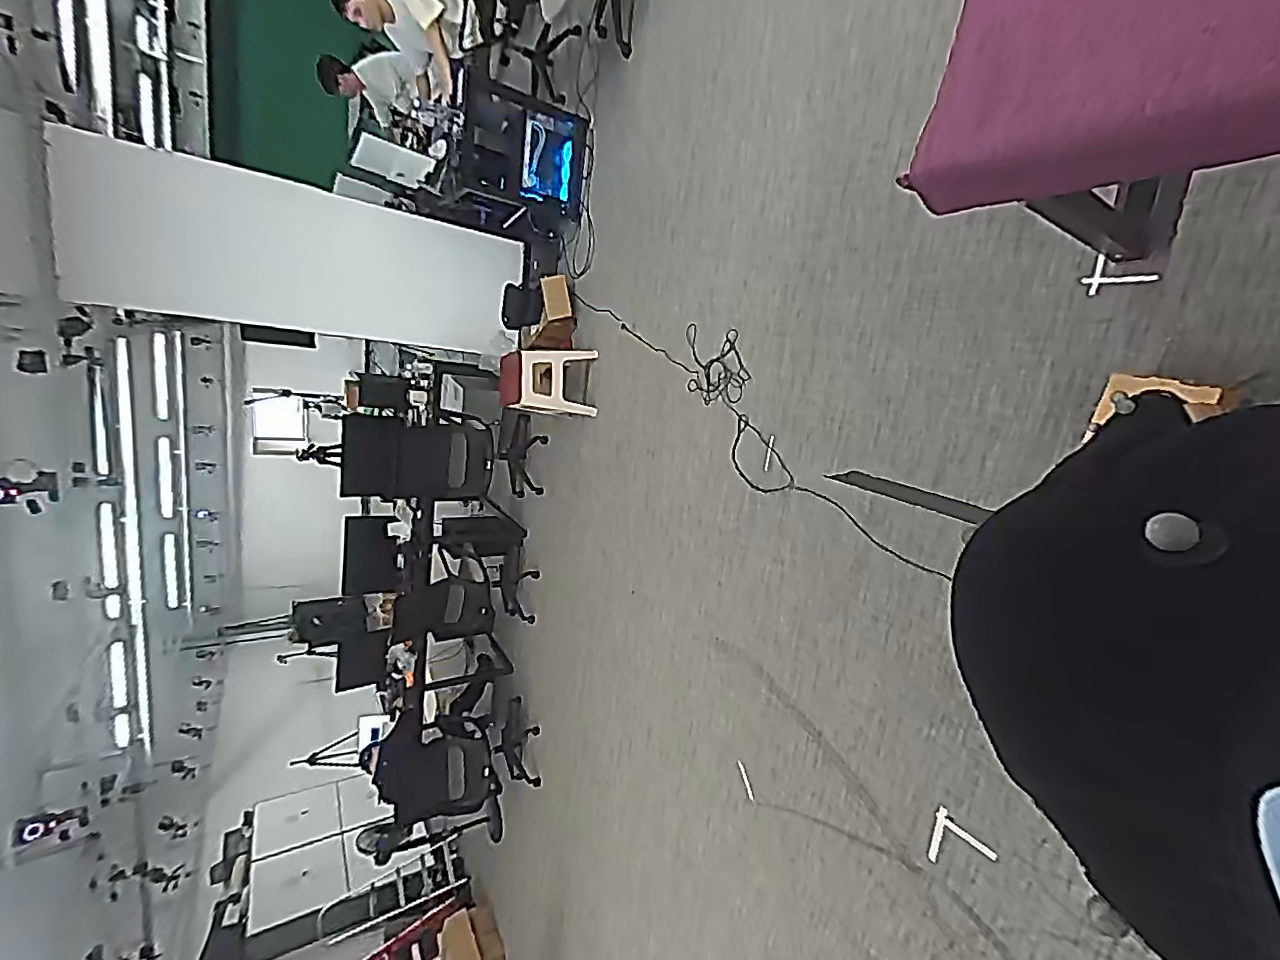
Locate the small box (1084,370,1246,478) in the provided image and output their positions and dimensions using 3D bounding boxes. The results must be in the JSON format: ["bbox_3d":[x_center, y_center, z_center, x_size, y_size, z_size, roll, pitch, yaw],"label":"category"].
[{"bbox_3d":[1.047,-0.112,1.079,0.168,0.176,0.179,33,118,51],"label":"small box"}]
